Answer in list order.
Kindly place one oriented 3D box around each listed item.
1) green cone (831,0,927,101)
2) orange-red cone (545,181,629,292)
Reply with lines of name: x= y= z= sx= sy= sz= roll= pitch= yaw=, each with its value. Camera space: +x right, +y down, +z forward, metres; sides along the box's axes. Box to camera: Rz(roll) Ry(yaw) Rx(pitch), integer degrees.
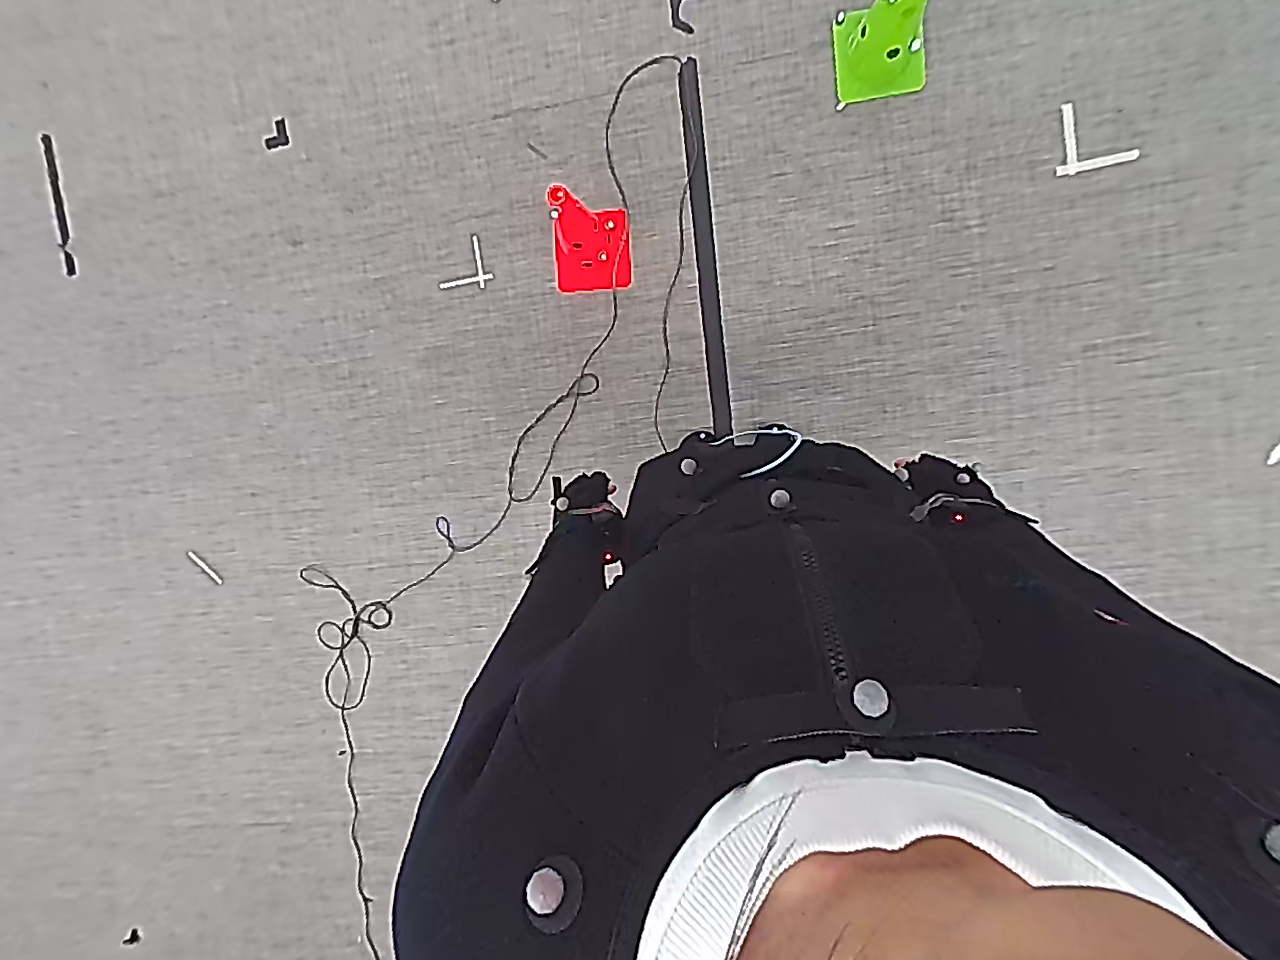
green cone: x=0.542 y=-0.991 z=1.102 sx=0.202 sy=0.368 sz=0.200 roll=-6 pitch=95 yaw=6
orange-red cone: x=-0.149 y=-0.579 z=1.232 sx=0.199 sy=0.360 sz=0.198 roll=-1 pitch=94 yaw=8
